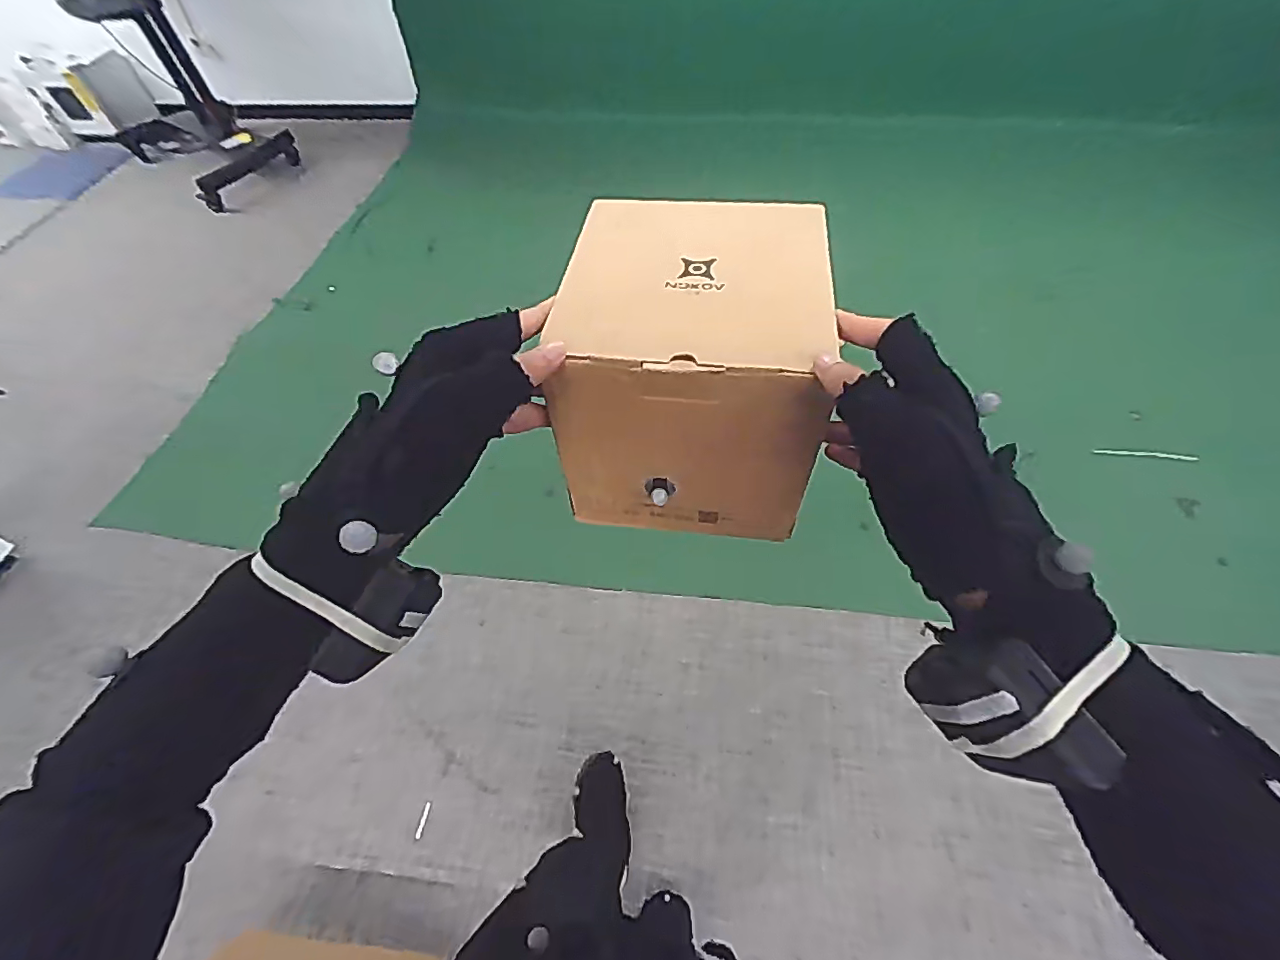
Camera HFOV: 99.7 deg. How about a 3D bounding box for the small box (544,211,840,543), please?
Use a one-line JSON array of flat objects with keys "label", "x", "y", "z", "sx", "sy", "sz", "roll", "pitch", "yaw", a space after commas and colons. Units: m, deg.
[{"label": "small box", "x": 0.040, "y": -0.076, "z": 0.406, "sx": 0.168, "sy": 0.176, "sz": 0.179, "roll": 4, "pitch": 53, "yaw": 7}]
